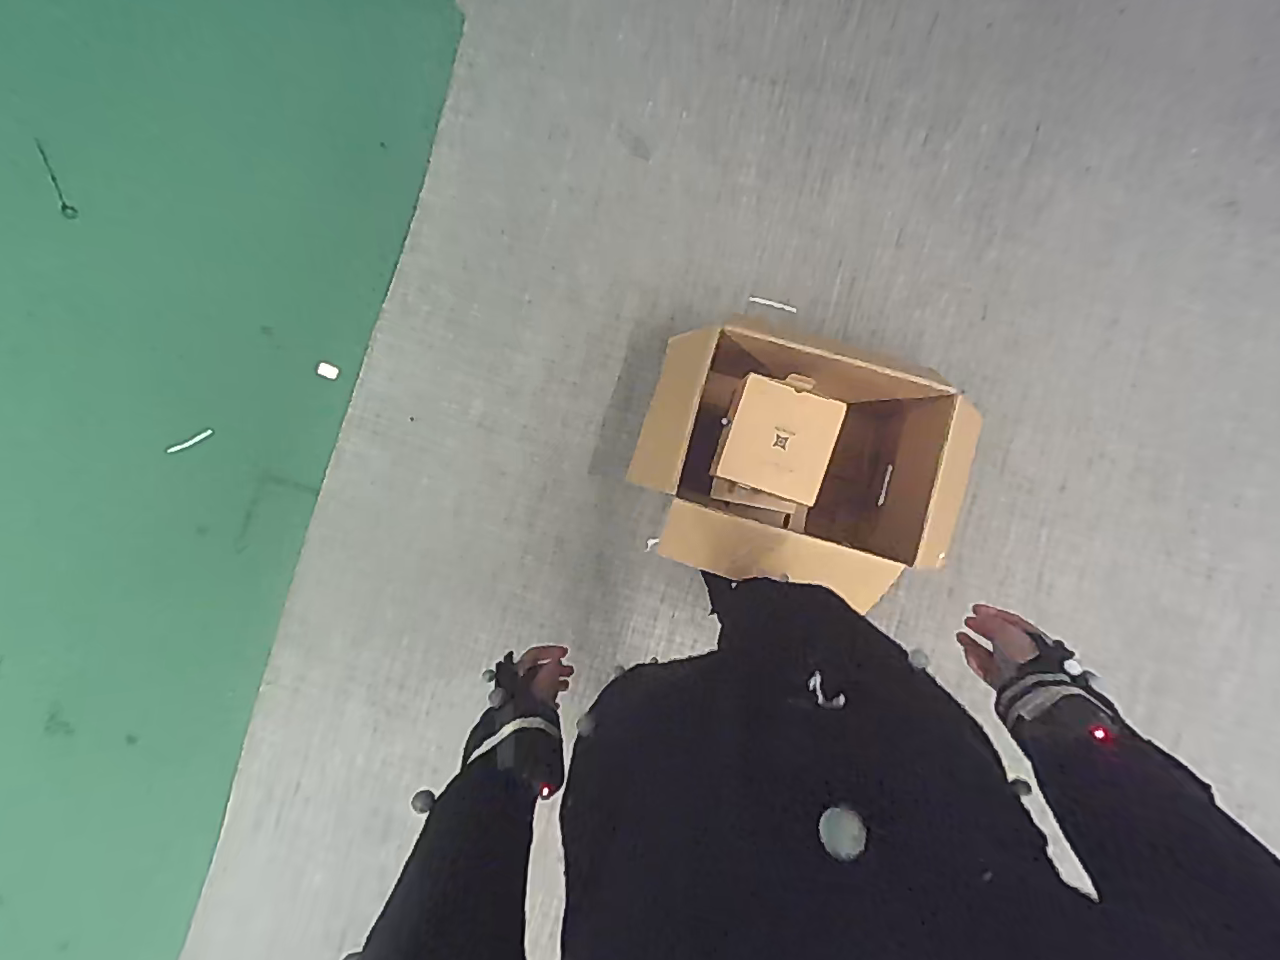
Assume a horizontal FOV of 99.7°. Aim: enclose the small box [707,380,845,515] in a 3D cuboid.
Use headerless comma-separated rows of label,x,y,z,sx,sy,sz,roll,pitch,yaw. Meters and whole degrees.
small box,0.224,-0.052,0.942,0.168,0.176,0.179,20,91,1
